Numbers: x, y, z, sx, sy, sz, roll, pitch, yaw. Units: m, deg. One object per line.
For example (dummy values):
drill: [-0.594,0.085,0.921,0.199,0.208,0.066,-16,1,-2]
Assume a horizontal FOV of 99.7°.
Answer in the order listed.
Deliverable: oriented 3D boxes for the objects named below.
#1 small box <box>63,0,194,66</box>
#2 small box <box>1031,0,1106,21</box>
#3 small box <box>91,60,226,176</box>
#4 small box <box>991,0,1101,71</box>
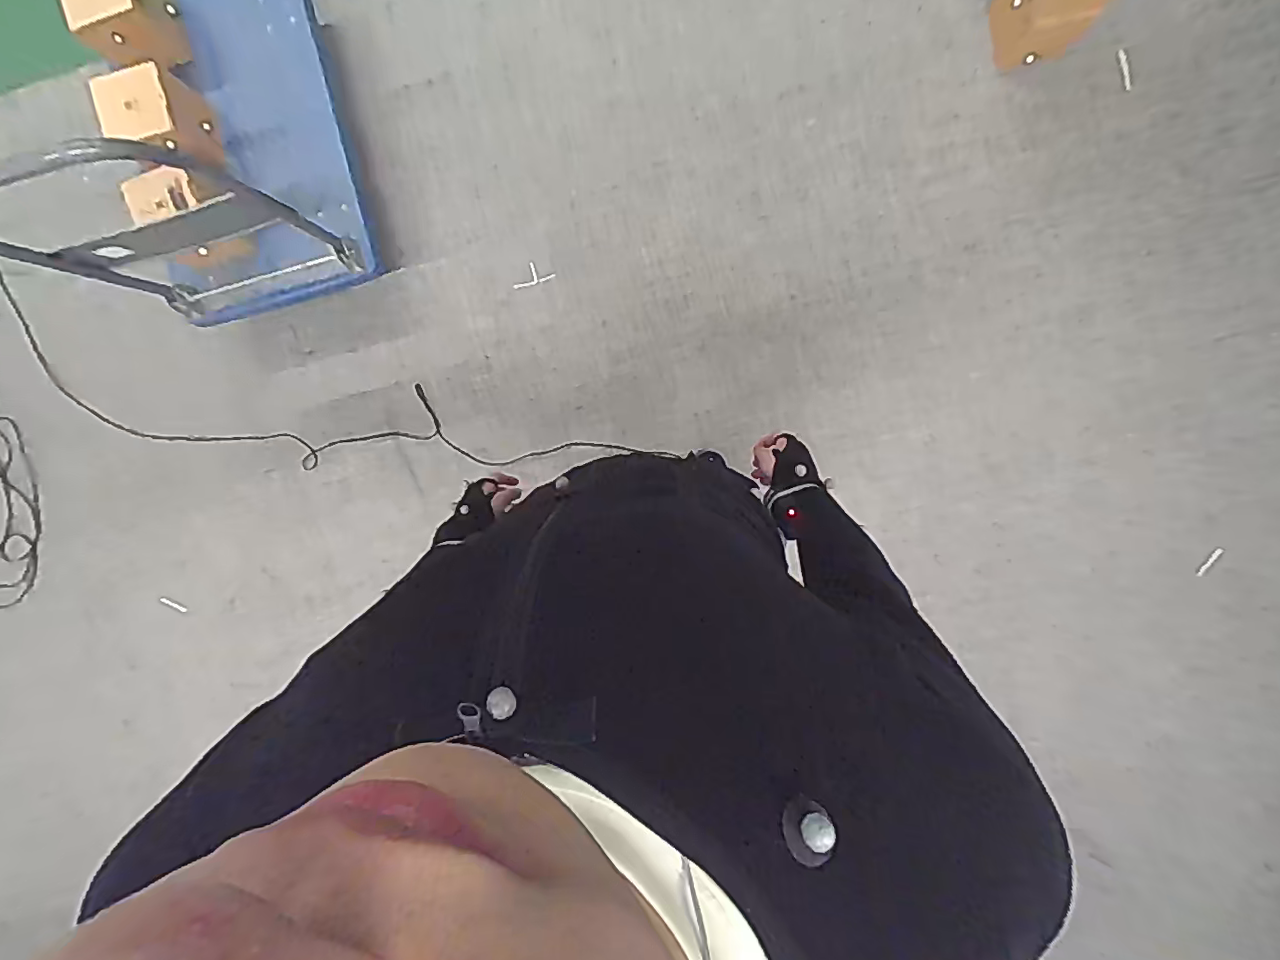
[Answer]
small box: [-1.289,-1.180,1.358,0.179,0.176,0.168,-14,94,3]
small box: [1.044,-1.228,1.262,0.179,0.176,0.168,-9,93,5]
small box: [-1.217,-0.910,1.378,0.179,0.176,0.168,-13,93,2]
small box: [1.058,-1.234,1.424,0.168,0.176,0.179,-9,94,4]
